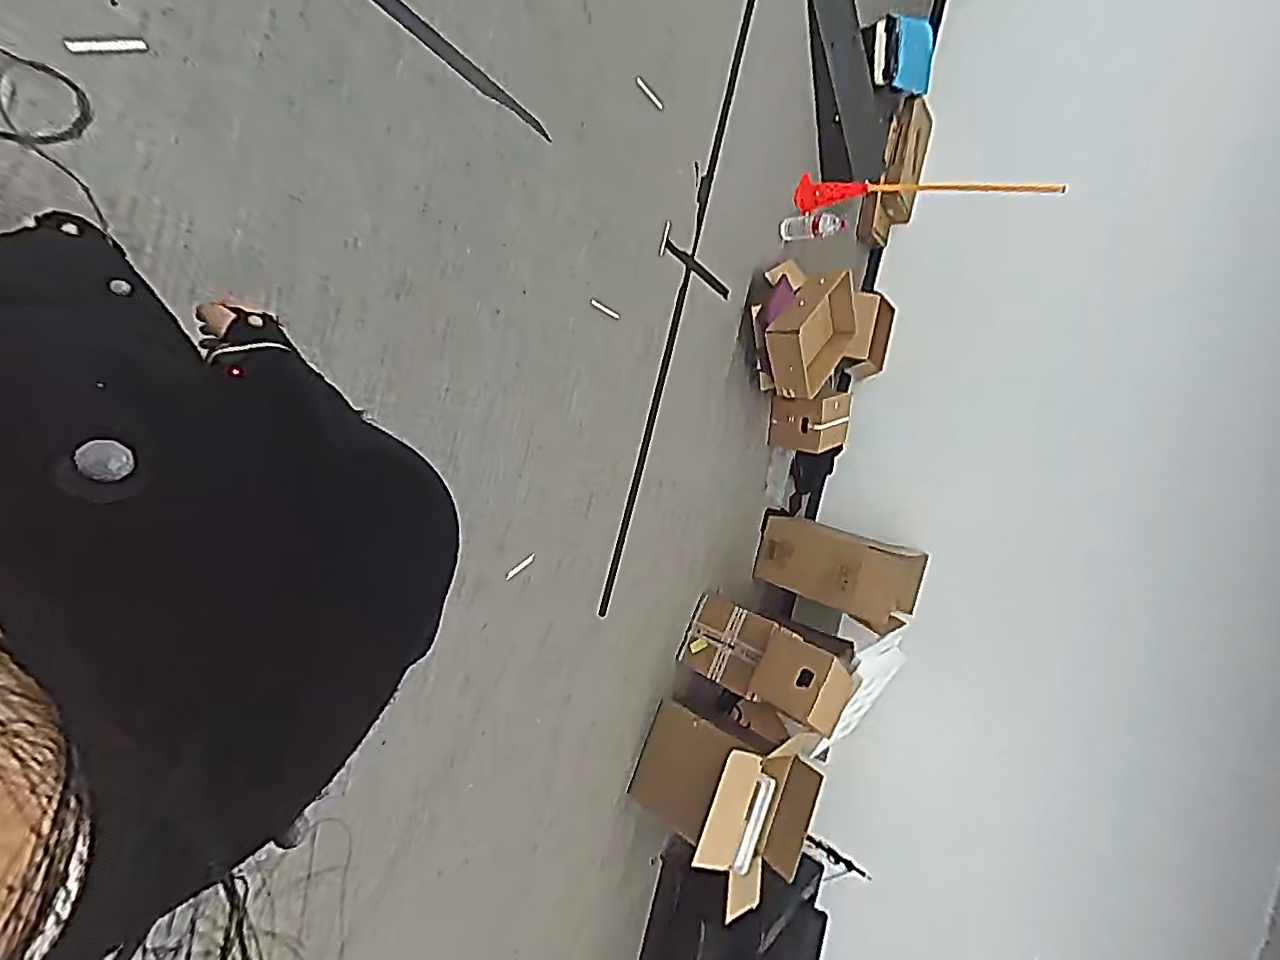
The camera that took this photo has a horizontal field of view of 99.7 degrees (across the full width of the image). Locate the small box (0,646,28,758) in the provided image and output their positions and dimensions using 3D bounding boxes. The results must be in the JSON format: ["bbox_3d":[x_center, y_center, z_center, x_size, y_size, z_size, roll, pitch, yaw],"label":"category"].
[{"bbox_3d":[-1.200,0.387,0.948,0.168,0.176,0.179,-1,102,-51],"label":"small box"}]
